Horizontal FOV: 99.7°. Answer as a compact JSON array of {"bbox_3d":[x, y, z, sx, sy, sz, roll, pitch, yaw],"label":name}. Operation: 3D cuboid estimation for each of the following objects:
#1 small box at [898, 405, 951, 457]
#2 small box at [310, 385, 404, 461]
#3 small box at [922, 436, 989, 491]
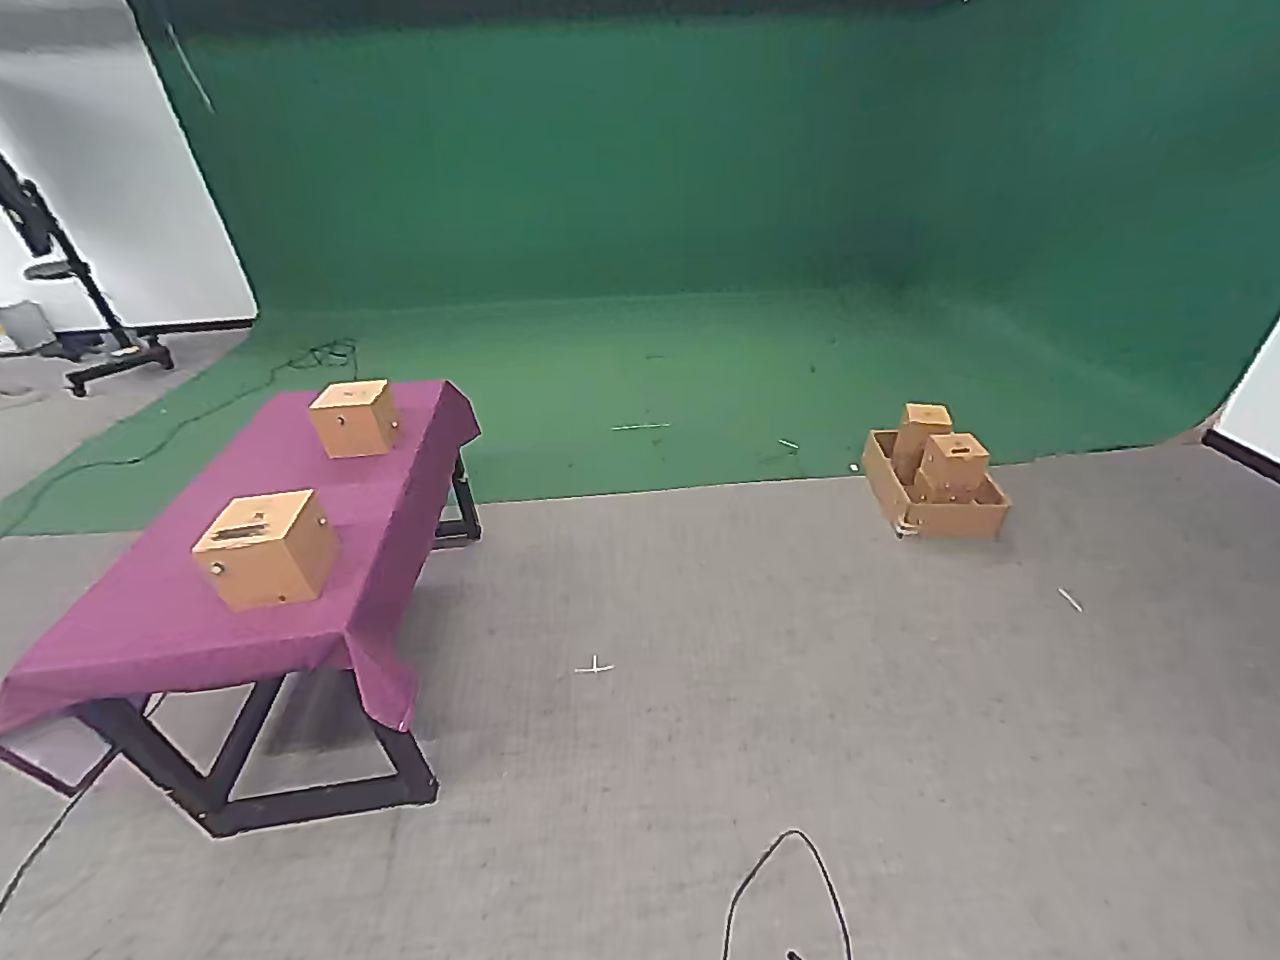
[{"bbox_3d":[1.277,-0.217,2.439,0.168,0.176,0.179,6,37,13],"label":"small box"},{"bbox_3d":[-0.835,-0.167,1.612,0.179,0.176,0.168,-5,35,-2],"label":"small box"},{"bbox_3d":[1.285,-0.064,2.214,0.168,0.176,0.179,-1,33,5],"label":"small box"}]
